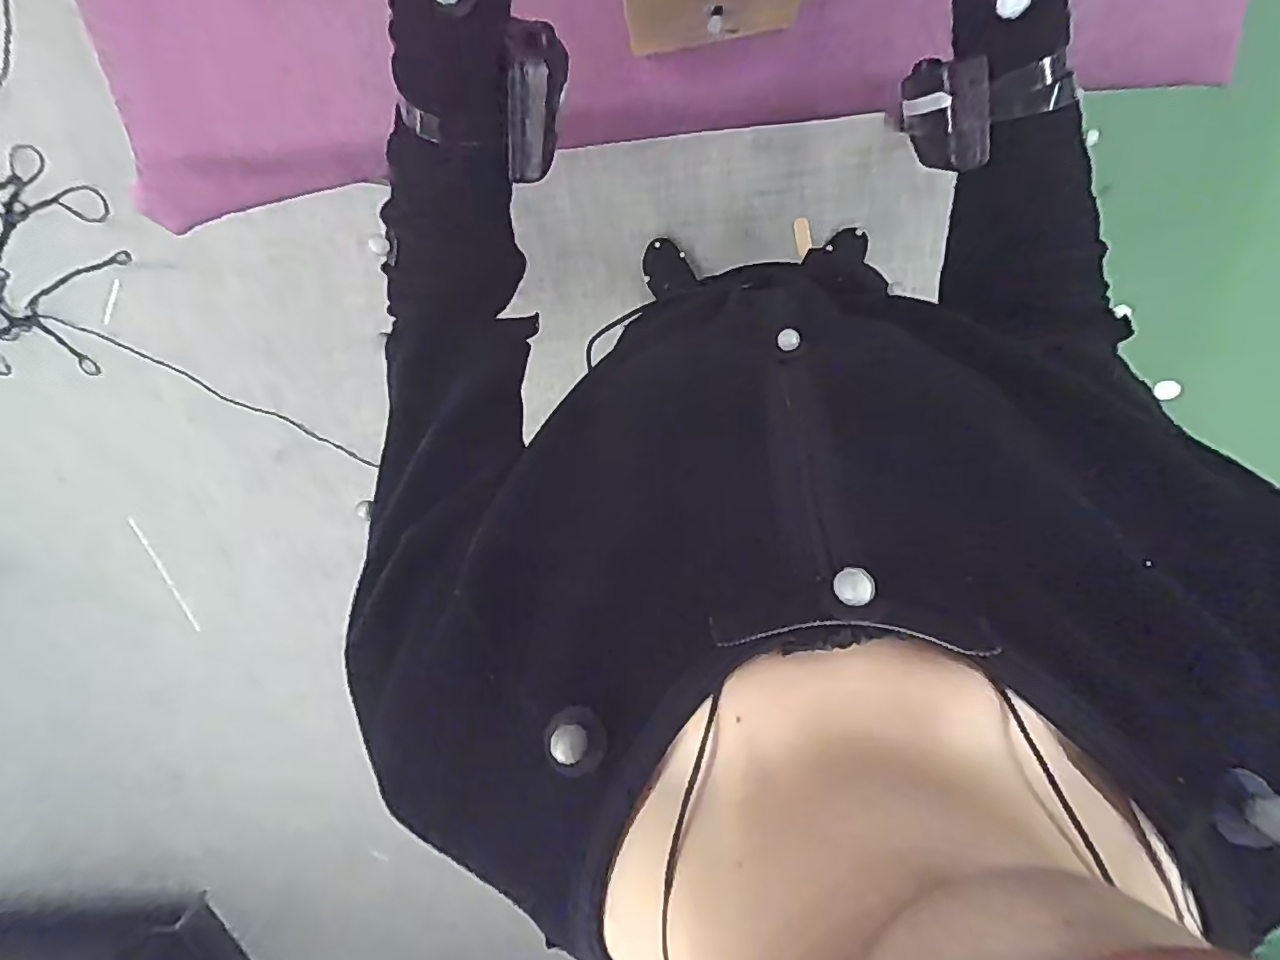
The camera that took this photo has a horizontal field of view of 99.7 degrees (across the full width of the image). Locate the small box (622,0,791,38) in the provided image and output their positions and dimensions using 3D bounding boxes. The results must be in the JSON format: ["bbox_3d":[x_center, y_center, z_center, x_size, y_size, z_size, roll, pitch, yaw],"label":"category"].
[{"bbox_3d":[0.057,-0.510,0.457,0.168,0.176,0.179,-6,113,6],"label":"small box"}]
